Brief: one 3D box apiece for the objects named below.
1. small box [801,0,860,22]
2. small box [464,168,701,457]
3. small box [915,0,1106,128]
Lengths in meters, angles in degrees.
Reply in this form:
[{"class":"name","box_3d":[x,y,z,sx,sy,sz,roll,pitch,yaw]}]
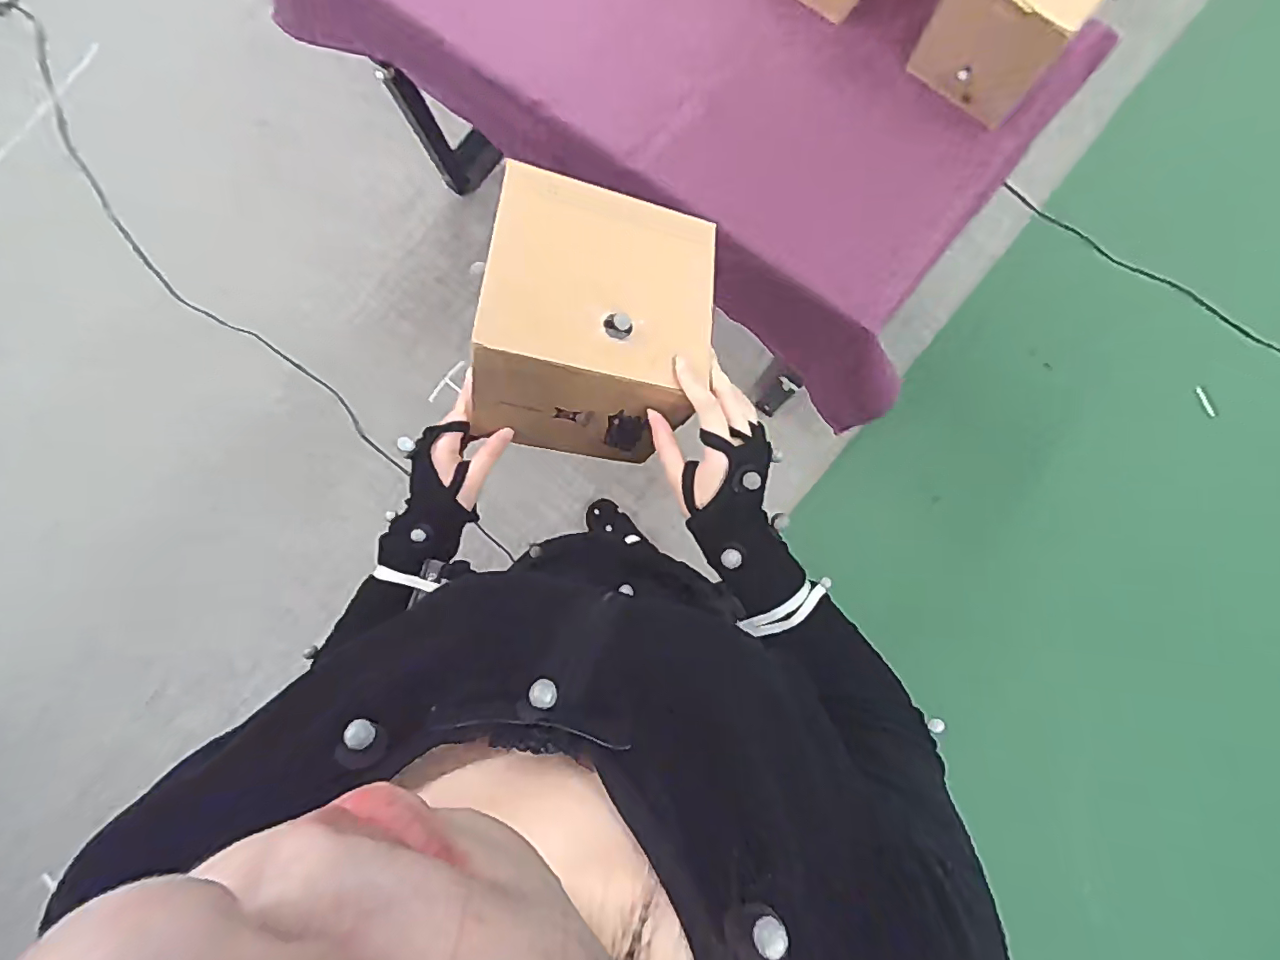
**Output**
[{"class":"small box","box_3d":[0.298,-0.828,0.770,0.168,0.176,0.179,37,89,4]},{"class":"small box","box_3d":[-0.054,-0.136,0.484,0.179,0.168,0.176,10,70,-15]},{"class":"small box","box_3d":[0.521,-0.646,0.742,0.168,0.176,0.179,40,91,5]}]
